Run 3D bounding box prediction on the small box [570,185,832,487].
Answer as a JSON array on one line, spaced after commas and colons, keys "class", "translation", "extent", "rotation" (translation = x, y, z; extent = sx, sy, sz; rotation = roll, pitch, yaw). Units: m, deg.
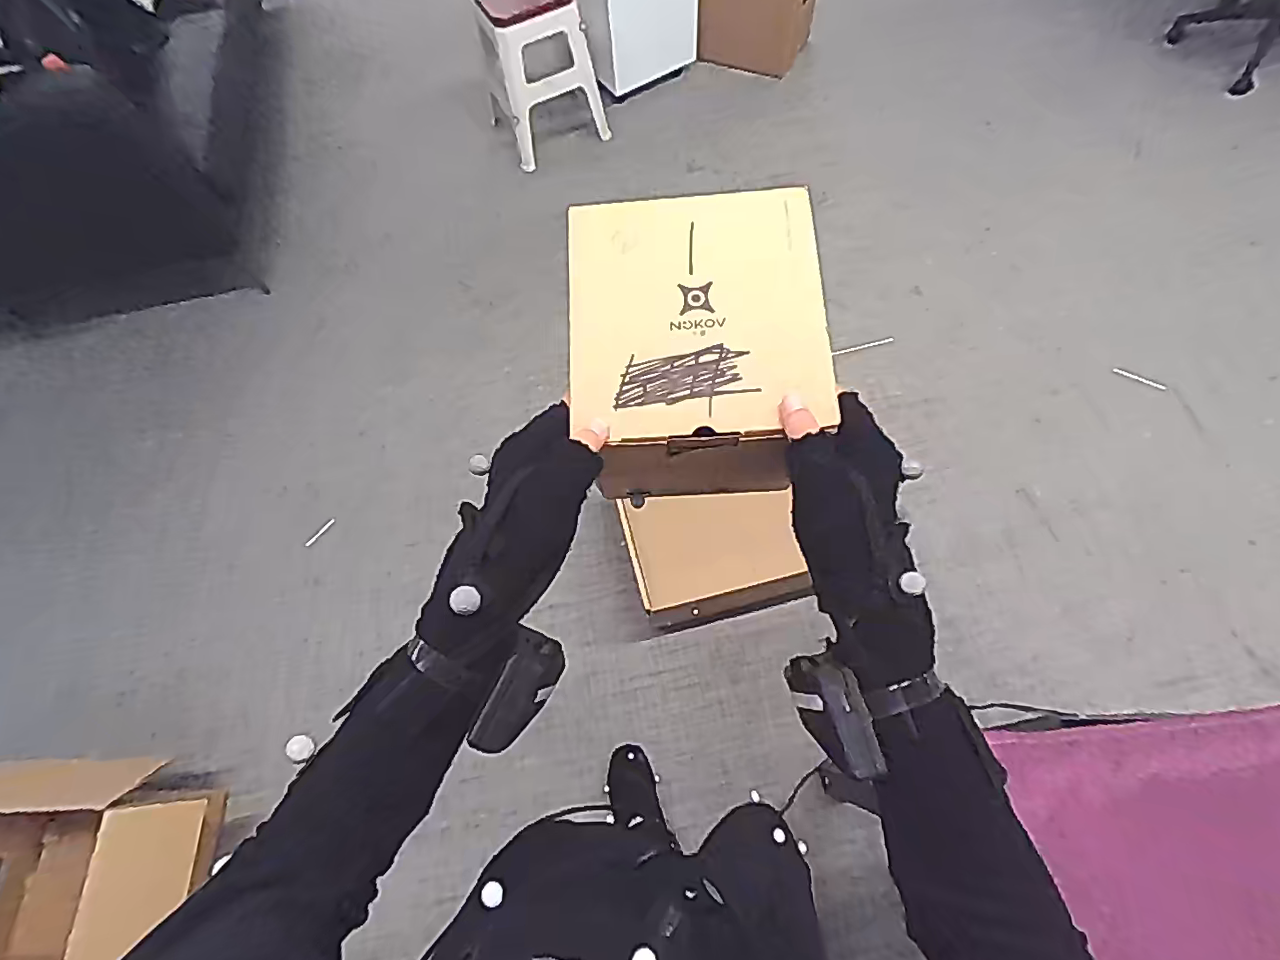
[{"class": "small box", "translation": [0.041, -0.094, 0.430], "extent": [0.168, 0.176, 0.179], "rotation": [-3, 76, 3]}]
